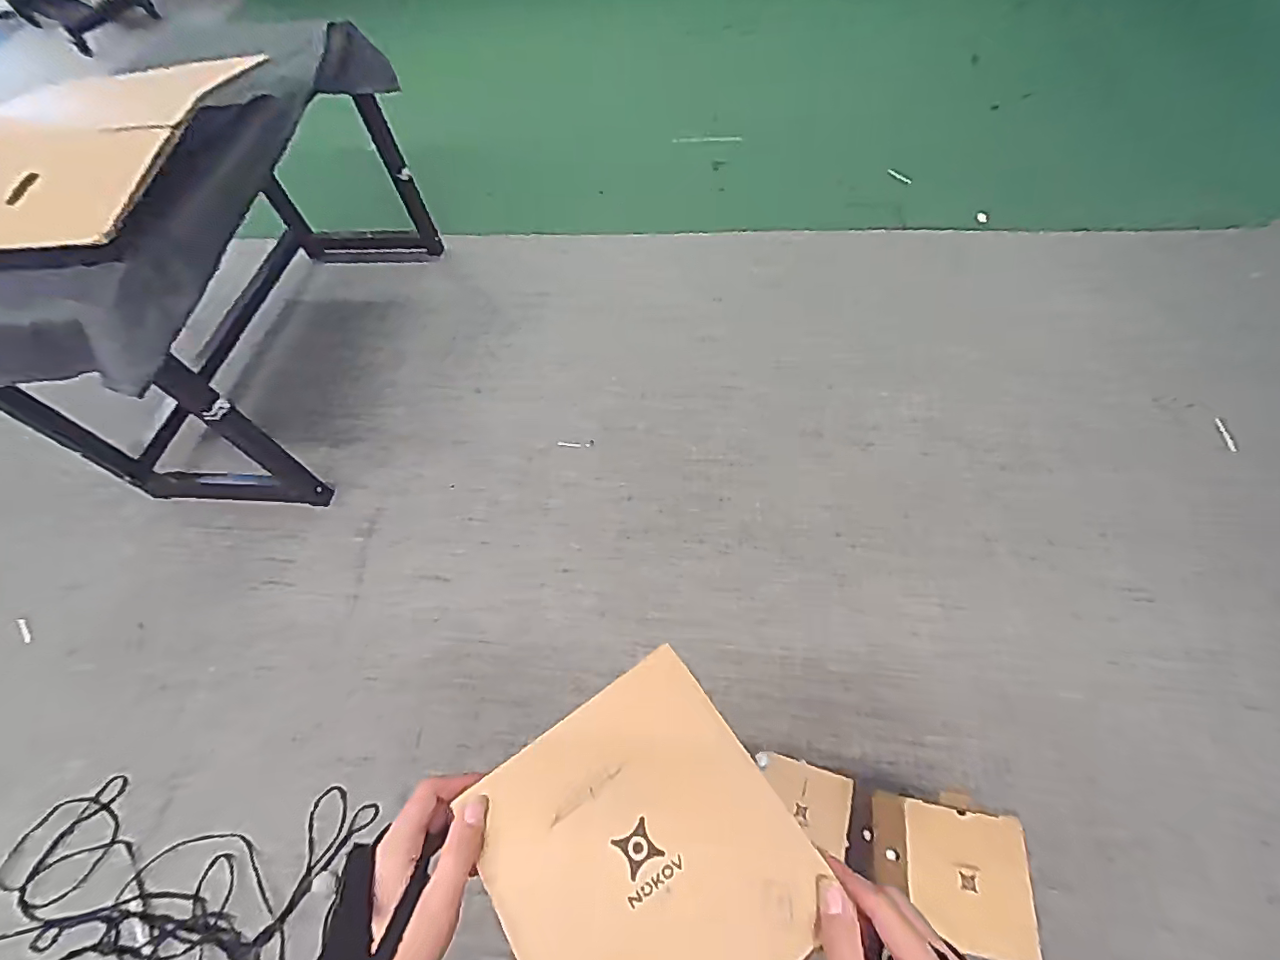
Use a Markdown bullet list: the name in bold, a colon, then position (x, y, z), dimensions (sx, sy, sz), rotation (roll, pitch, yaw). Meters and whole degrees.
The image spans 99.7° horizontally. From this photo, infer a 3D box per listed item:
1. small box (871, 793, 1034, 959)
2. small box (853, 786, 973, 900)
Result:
- **small box**: position (0.466, 0.601, 0.838), dimensions (0.168, 0.176, 0.179), rotation (6, 60, 9)
- **small box**: position (0.493, 0.673, 0.983), dimensions (0.168, 0.176, 0.179), rotation (6, 59, 9)
